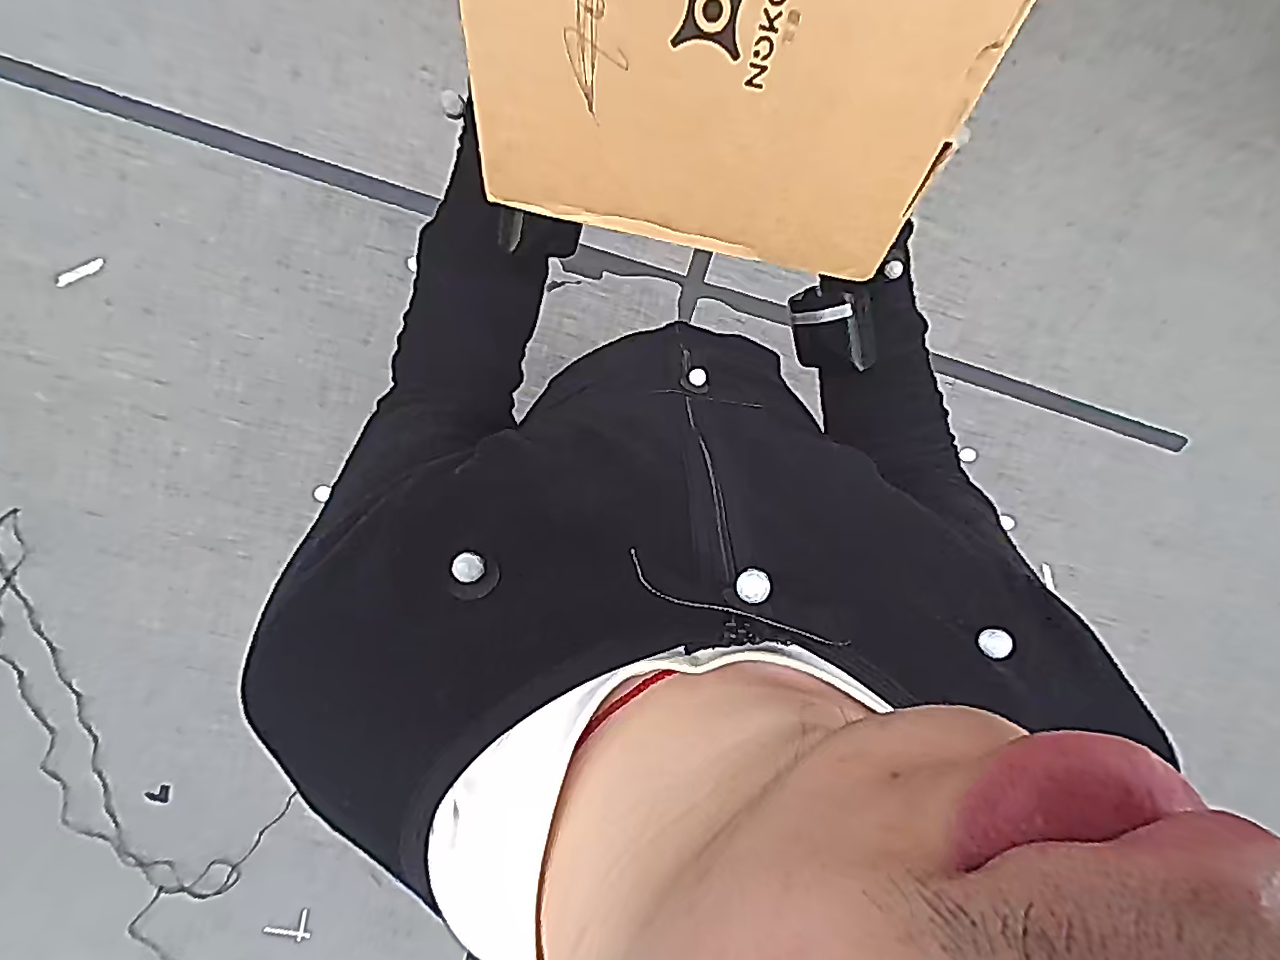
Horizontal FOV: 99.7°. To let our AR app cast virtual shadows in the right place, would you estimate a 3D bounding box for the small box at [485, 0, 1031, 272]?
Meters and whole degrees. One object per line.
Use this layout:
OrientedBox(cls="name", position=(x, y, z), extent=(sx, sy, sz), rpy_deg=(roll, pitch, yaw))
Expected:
OrientedBox(cls="small box", position=(0.046, -0.221, 0.221), extent=(0.179, 0.168, 0.176), rpy_deg=(13, 58, 0))
